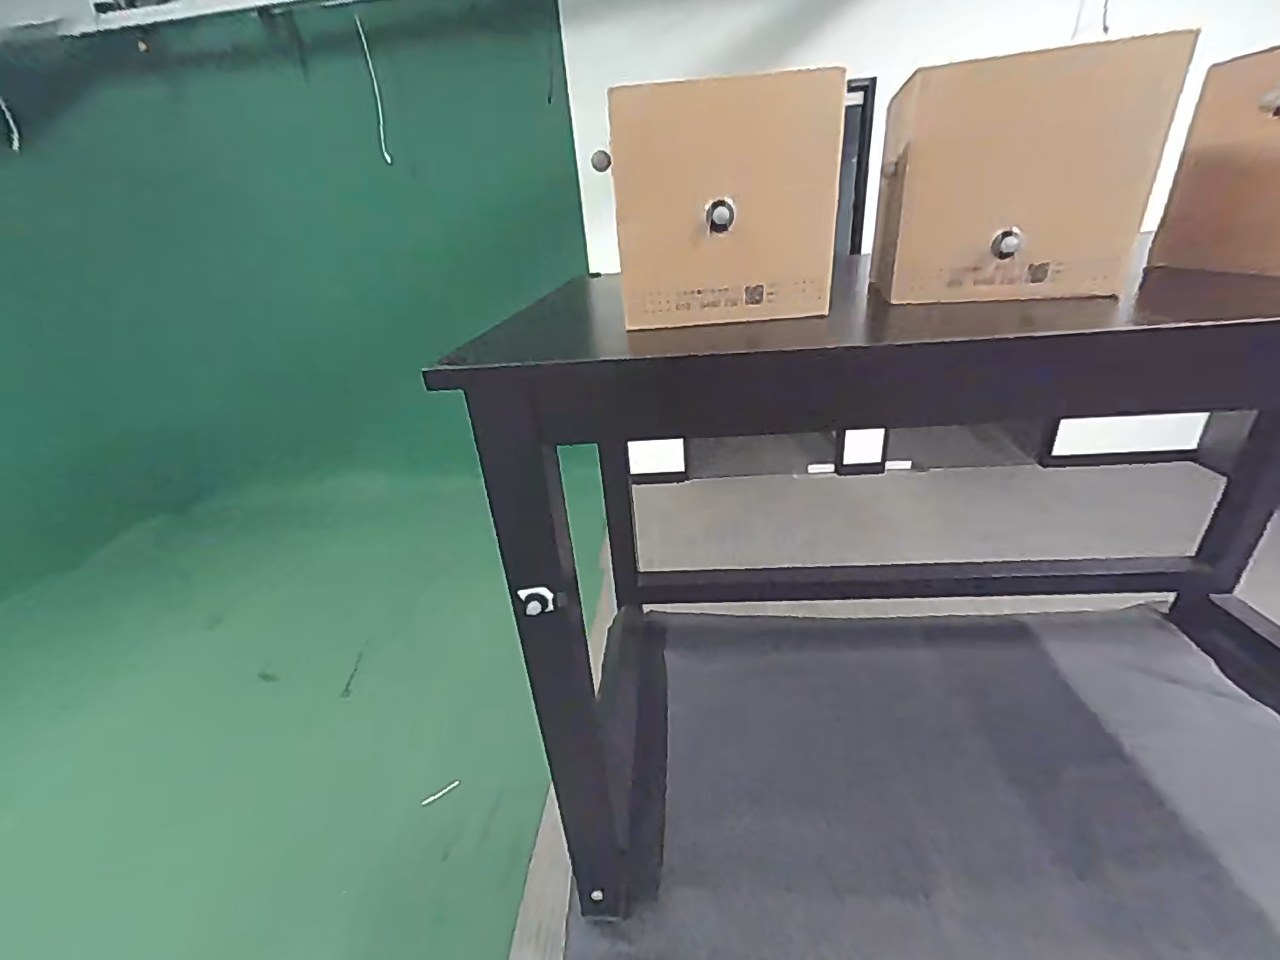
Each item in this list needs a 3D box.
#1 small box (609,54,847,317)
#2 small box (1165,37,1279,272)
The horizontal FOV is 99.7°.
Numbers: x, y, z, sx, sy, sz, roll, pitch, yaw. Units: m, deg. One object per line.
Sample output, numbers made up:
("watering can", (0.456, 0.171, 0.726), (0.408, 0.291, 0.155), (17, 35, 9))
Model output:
("small box", (0.068, -0.240, 0.474), (0.168, 0.176, 0.179), (-3, 26, 2))
("small box", (0.579, -0.255, 0.414), (0.168, 0.176, 0.179), (-5, 25, 1))
